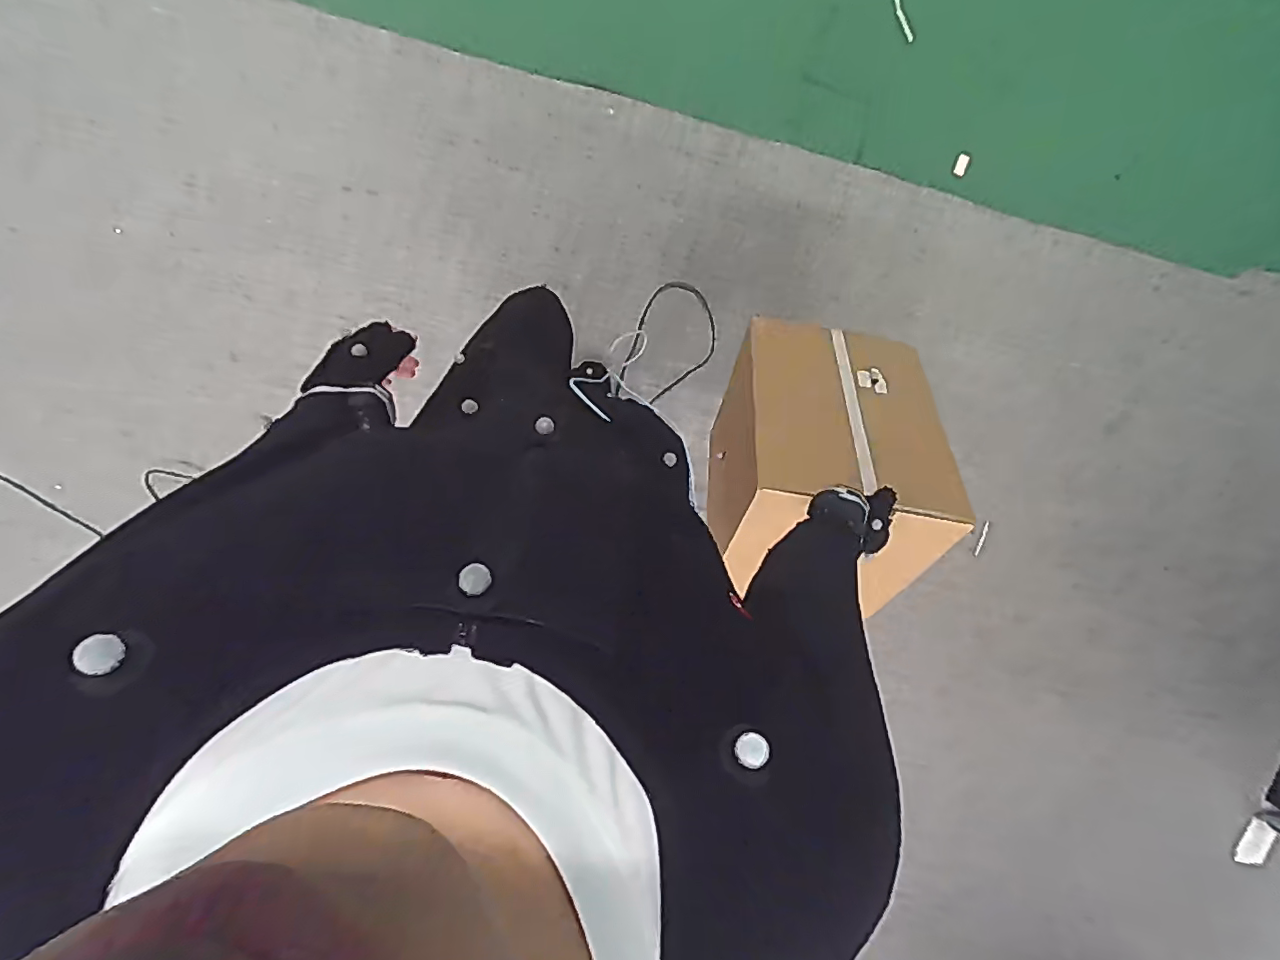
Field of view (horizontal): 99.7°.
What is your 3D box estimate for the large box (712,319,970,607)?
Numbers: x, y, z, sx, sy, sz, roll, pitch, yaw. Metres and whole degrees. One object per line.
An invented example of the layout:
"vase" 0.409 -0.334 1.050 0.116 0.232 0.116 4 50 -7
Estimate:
"large box" 0.316 -0.027 0.989 0.320 0.408 0.320 10 142 -3
